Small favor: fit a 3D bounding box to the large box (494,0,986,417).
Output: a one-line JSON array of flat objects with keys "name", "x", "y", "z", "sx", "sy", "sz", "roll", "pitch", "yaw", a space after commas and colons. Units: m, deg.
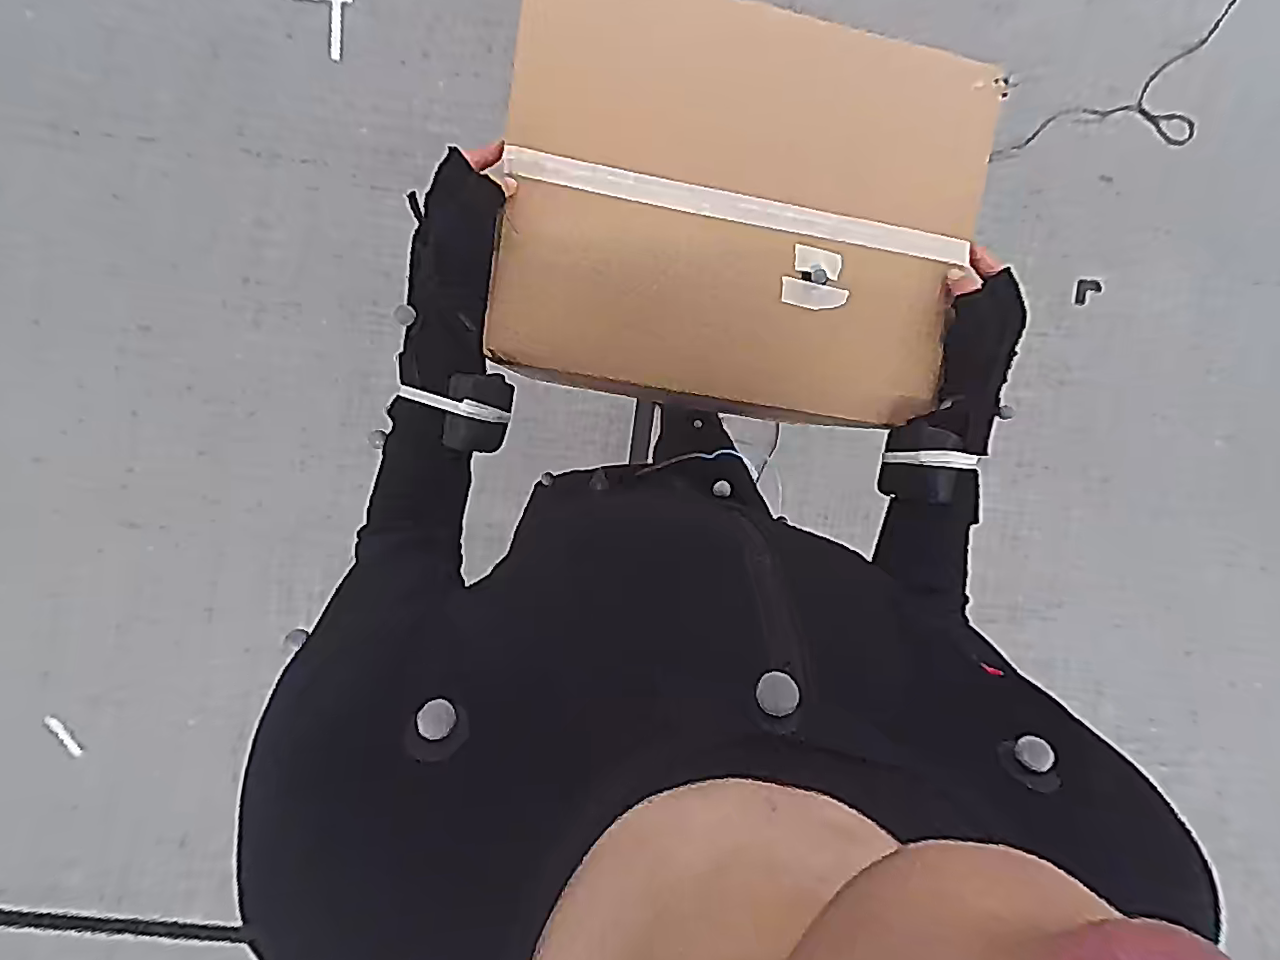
[{"name": "large box", "x": 0.071, "y": -0.255, "z": 0.613, "sx": 0.408, "sy": 0.320, "sz": 0.320, "roll": 8, "pitch": 98, "yaw": -8}]
